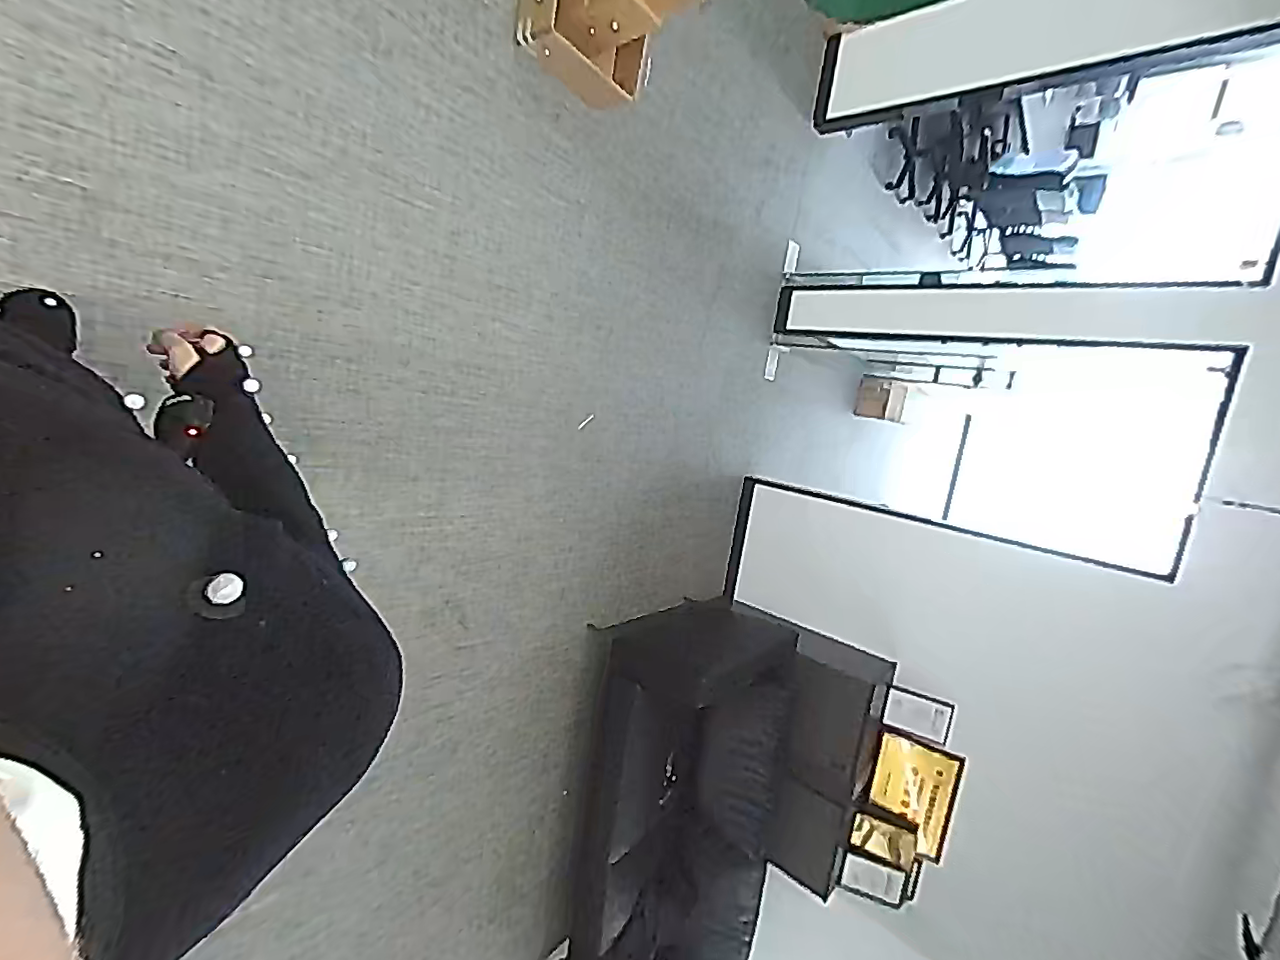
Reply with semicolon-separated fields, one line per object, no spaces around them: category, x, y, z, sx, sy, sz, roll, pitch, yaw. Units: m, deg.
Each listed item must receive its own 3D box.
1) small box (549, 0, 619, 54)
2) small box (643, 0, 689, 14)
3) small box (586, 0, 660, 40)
small box;-0.171;-1.529;1.745;0.179;0.176;0.168;5;98;-52
small box;0.074;-1.481;1.532;0.179;0.176;0.168;6;98;-51
small box;-0.046;-1.496;1.641;0.168;0.176;0.179;-2;103;-50
